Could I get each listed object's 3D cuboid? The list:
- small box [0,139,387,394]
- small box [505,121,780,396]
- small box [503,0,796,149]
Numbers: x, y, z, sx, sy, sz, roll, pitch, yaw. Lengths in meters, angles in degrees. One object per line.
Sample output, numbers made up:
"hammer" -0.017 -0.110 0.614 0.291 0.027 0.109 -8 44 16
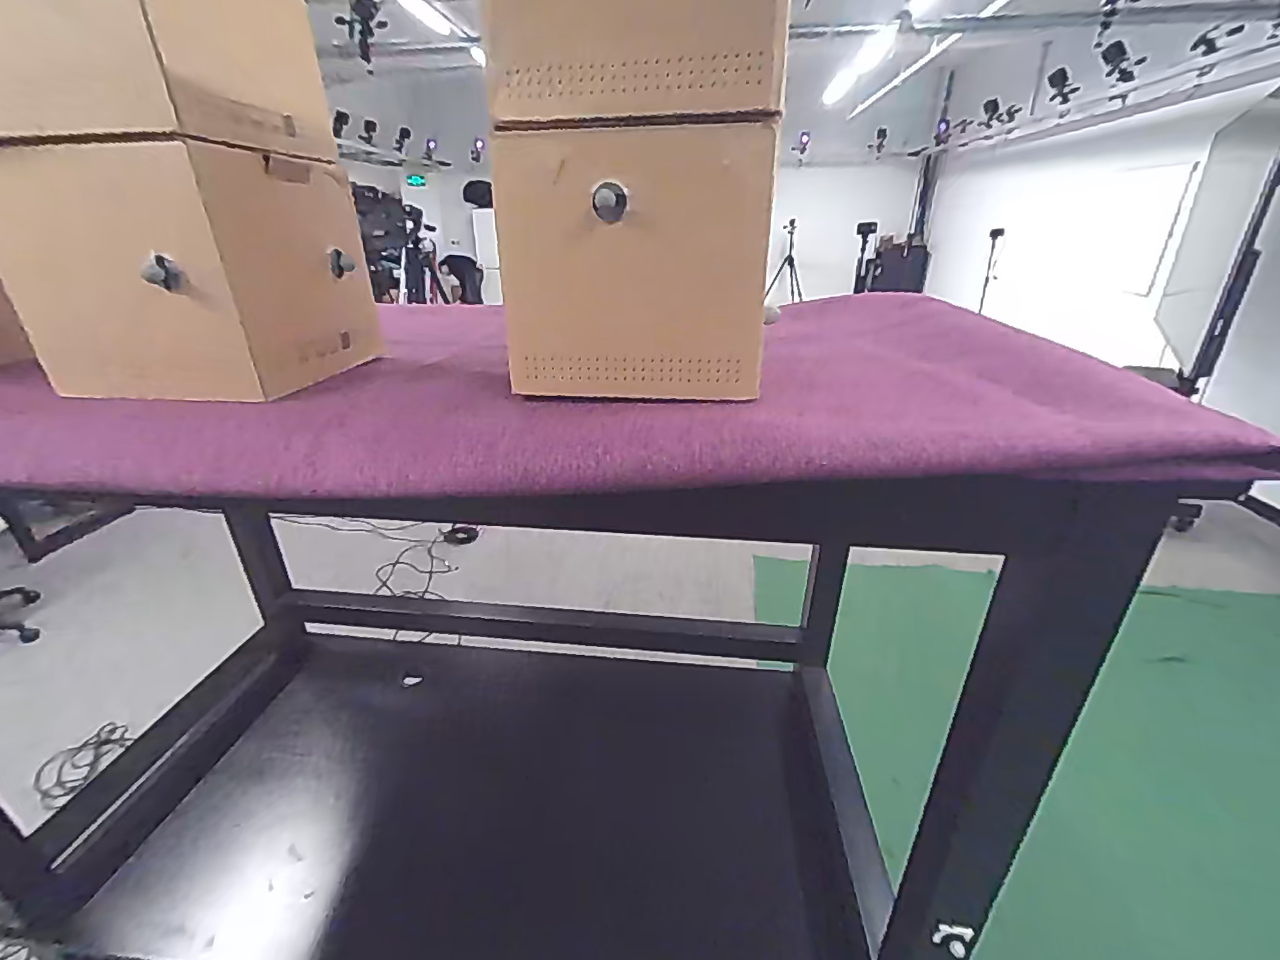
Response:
"small box" -0.340 -0.171 0.447 0.179 0.176 0.168 2 24 5
"small box" 0.009 -0.166 0.433 0.179 0.176 0.168 4 22 7
"small box" 0.012 -0.318 0.371 0.179 0.176 0.168 3 22 8
